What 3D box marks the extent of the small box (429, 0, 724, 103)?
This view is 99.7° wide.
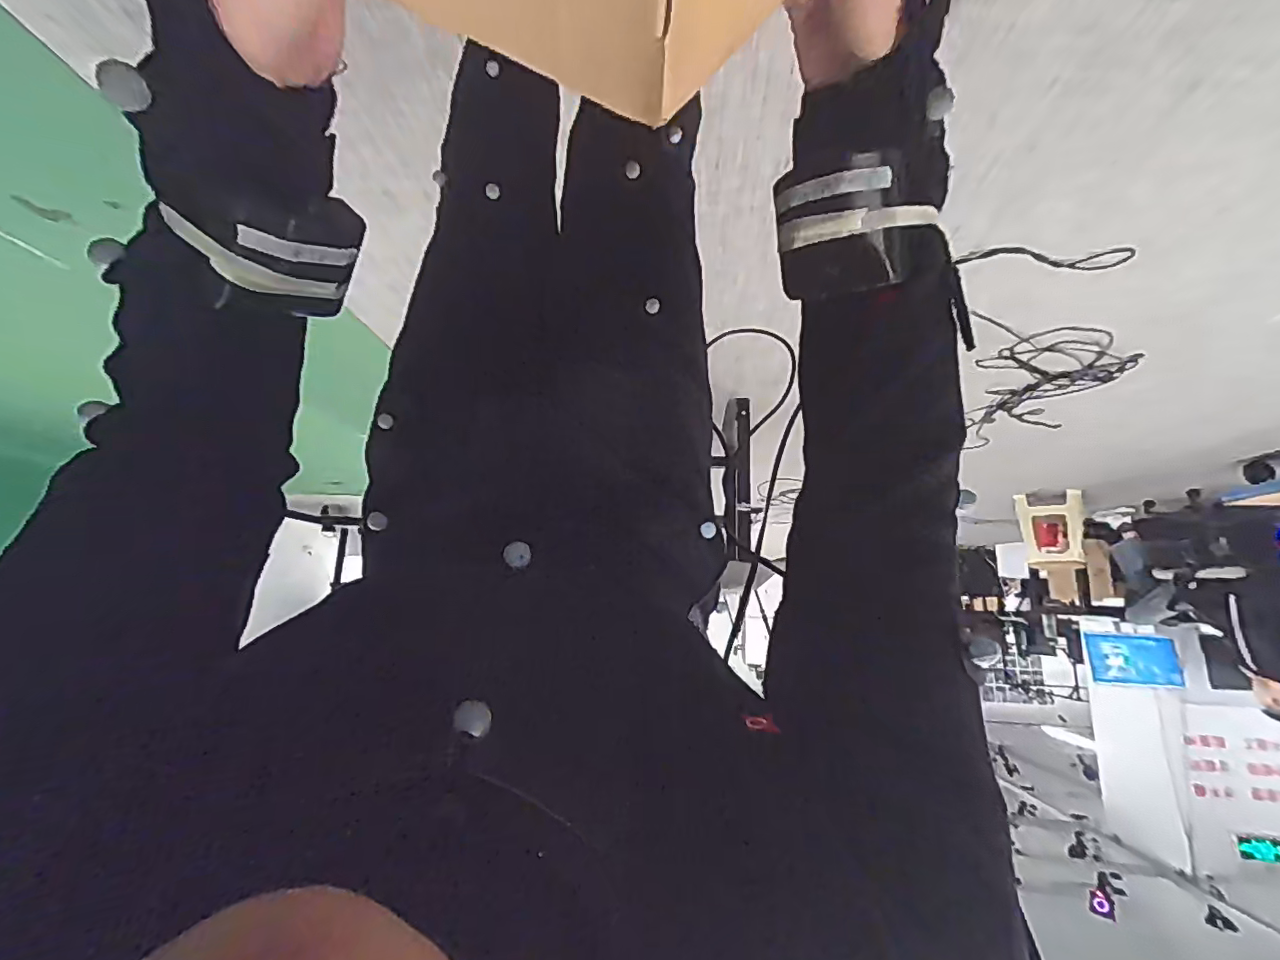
[{"bbox_3d":[-0.017,-0.274,0.164,0.179,0.176,0.168,32,163,10],"label":"small box"}]
